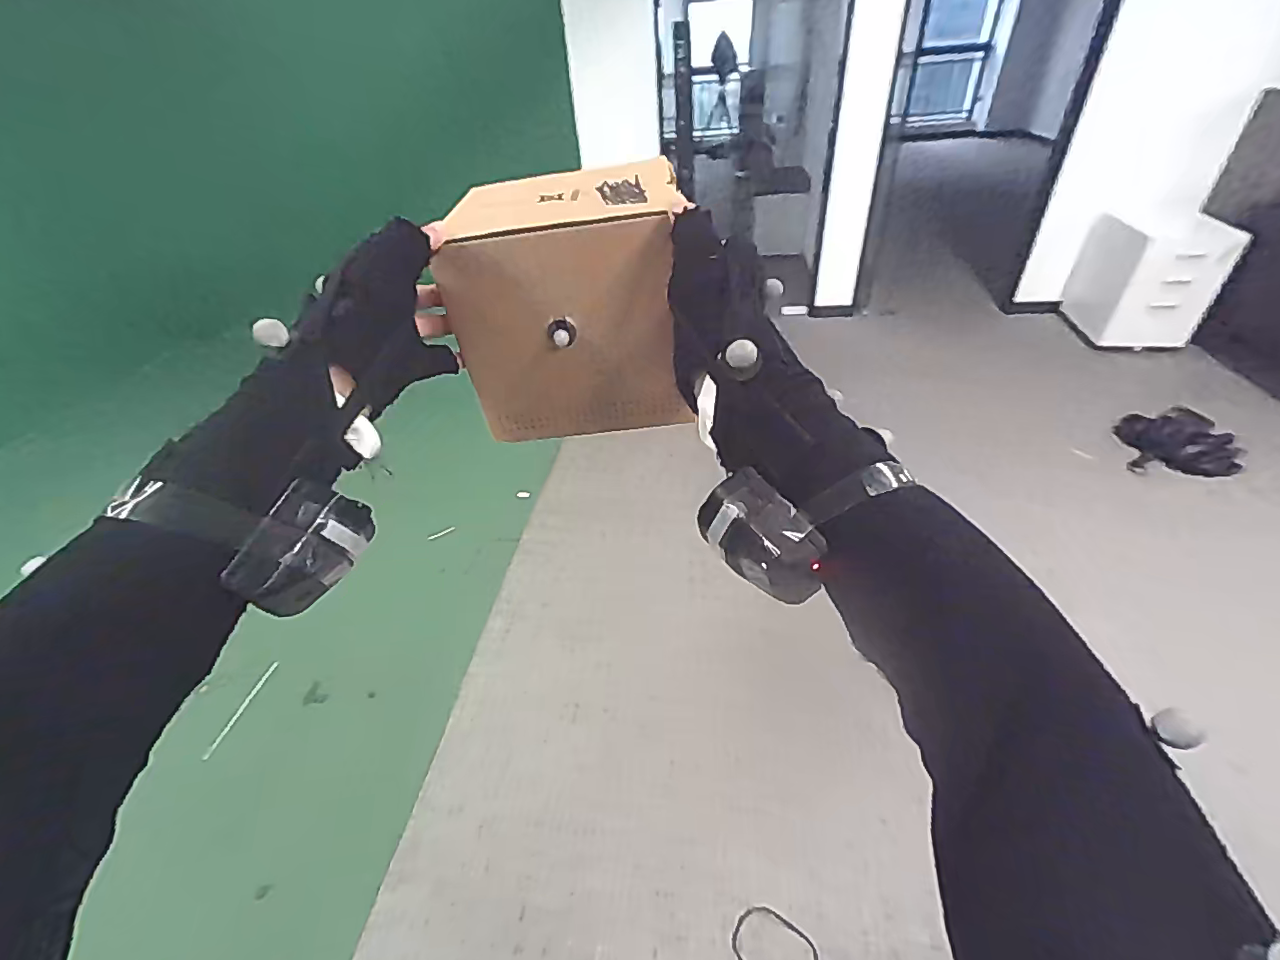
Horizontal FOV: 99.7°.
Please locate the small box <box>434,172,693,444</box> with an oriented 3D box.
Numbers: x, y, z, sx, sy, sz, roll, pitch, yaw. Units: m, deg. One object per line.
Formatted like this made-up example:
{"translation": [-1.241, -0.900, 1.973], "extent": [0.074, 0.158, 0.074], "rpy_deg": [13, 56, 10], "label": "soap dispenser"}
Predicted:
{"translation": [-0.047, -0.150, 0.476], "extent": [0.179, 0.176, 0.168], "rpy_deg": [-7, 39, 5], "label": "small box"}
